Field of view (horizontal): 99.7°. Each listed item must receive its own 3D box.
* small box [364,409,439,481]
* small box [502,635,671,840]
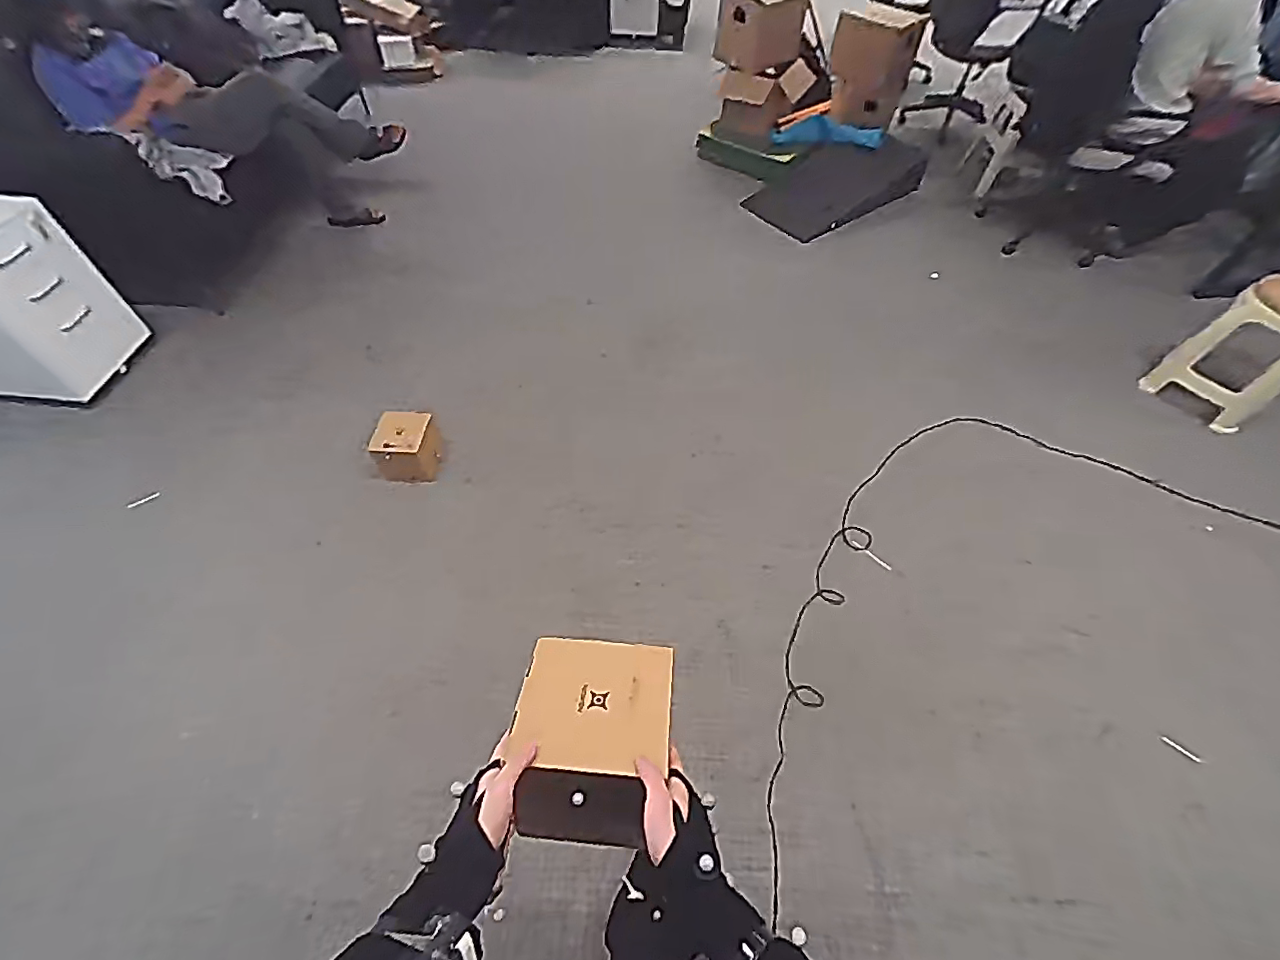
[{"bbox_3d":[-0.811,-0.119,1.861,0.168,0.176,0.179,4,54,1],"label":"small box"},{"bbox_3d":[-0.055,0.317,0.669,0.179,0.176,0.168,5,35,2],"label":"small box"}]
